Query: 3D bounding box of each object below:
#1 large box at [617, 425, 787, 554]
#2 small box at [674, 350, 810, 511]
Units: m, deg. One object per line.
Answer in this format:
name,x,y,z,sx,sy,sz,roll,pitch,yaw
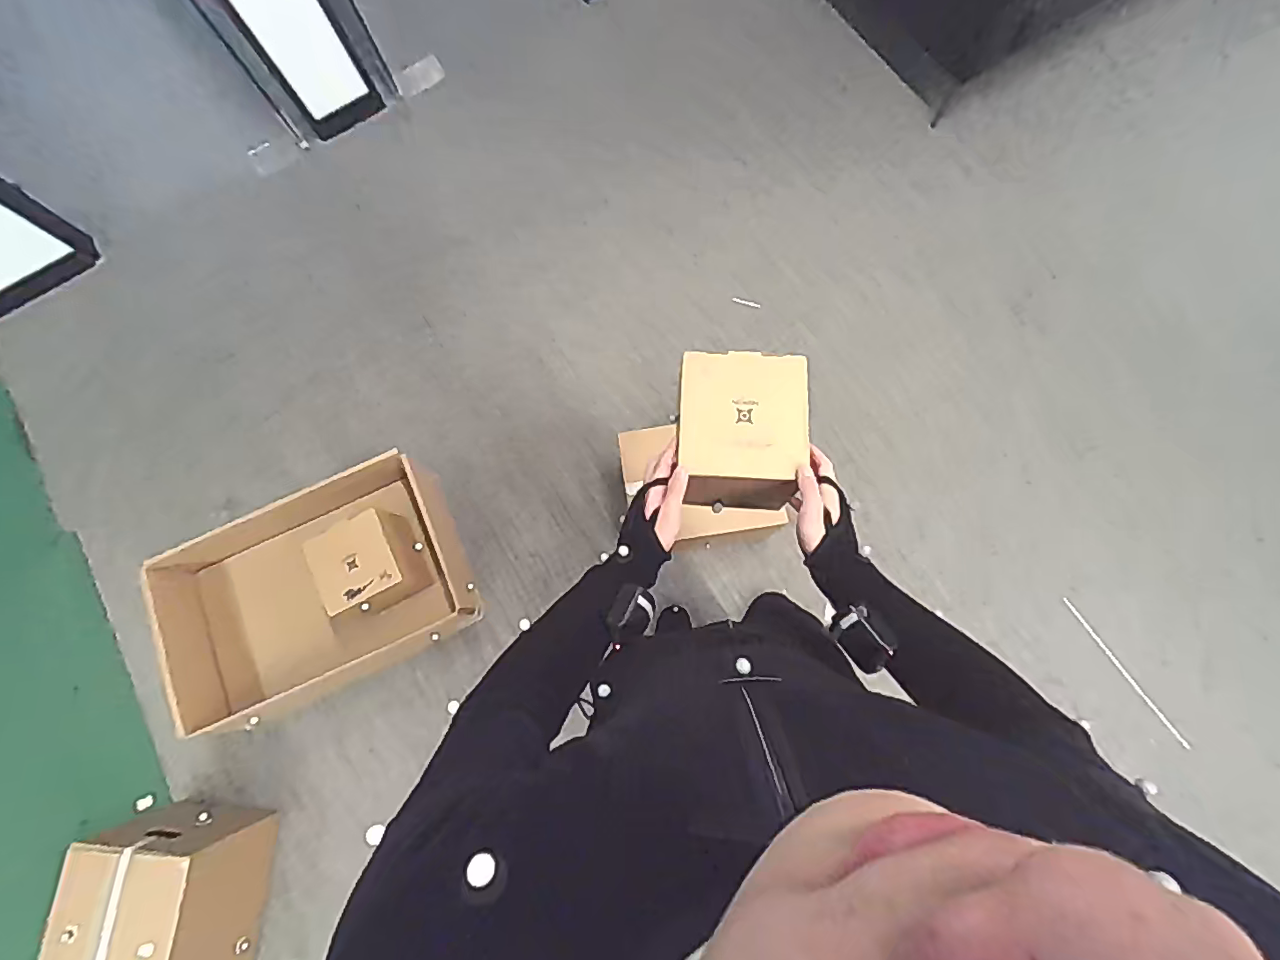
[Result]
large box,0.166,0.023,1.555,0.408,0.320,0.320,-9,76,1
small box,0.136,-0.064,0.770,0.168,0.176,0.179,3,74,2
